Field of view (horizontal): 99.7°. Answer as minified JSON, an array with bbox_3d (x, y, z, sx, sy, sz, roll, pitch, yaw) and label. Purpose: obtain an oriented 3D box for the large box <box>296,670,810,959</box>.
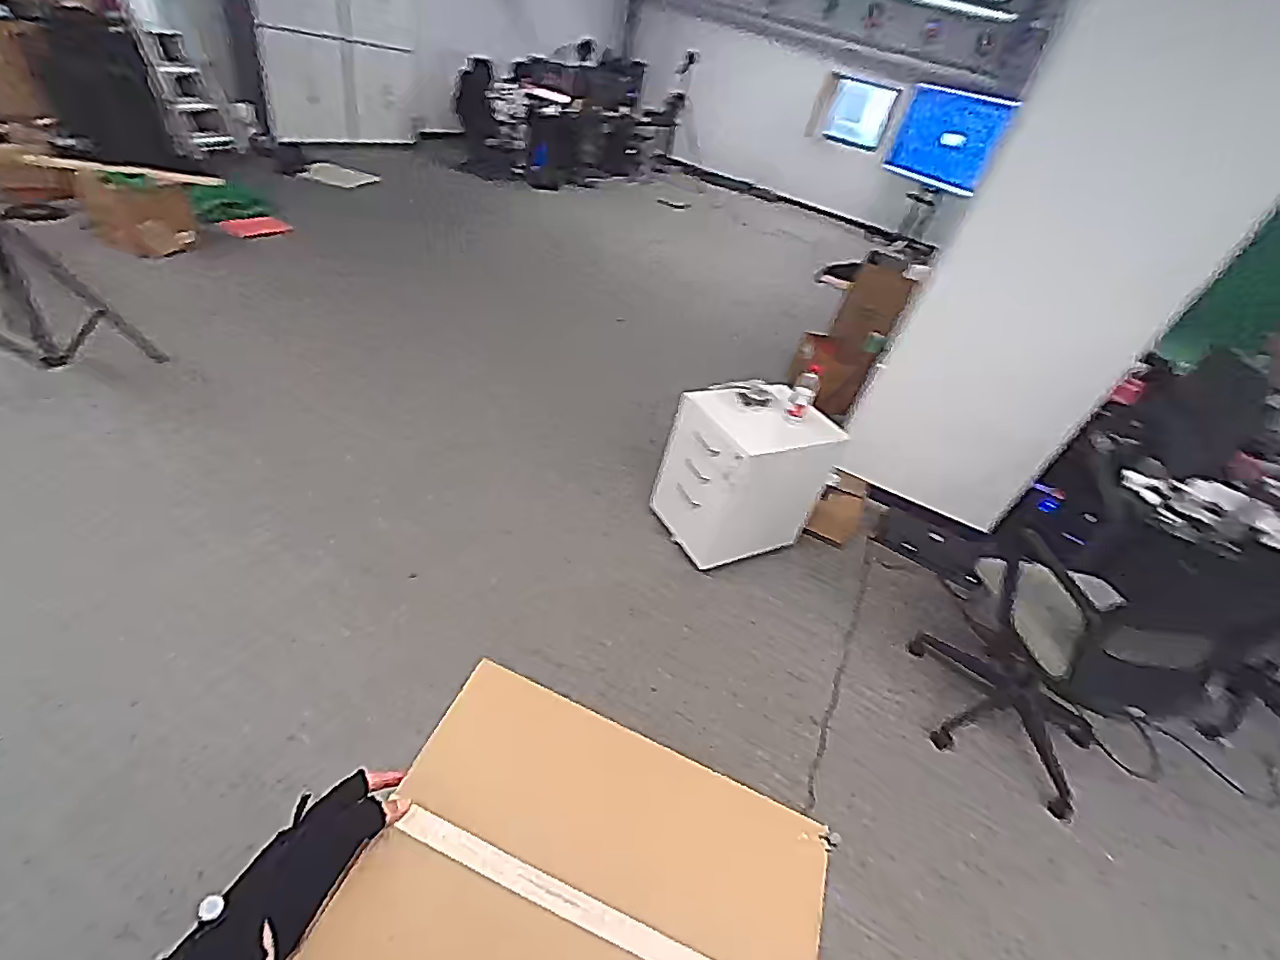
[{"bbox_3d":[-0.084,0.480,0.586,0.408,0.320,0.320,24,46,5],"label":"large box"}]
